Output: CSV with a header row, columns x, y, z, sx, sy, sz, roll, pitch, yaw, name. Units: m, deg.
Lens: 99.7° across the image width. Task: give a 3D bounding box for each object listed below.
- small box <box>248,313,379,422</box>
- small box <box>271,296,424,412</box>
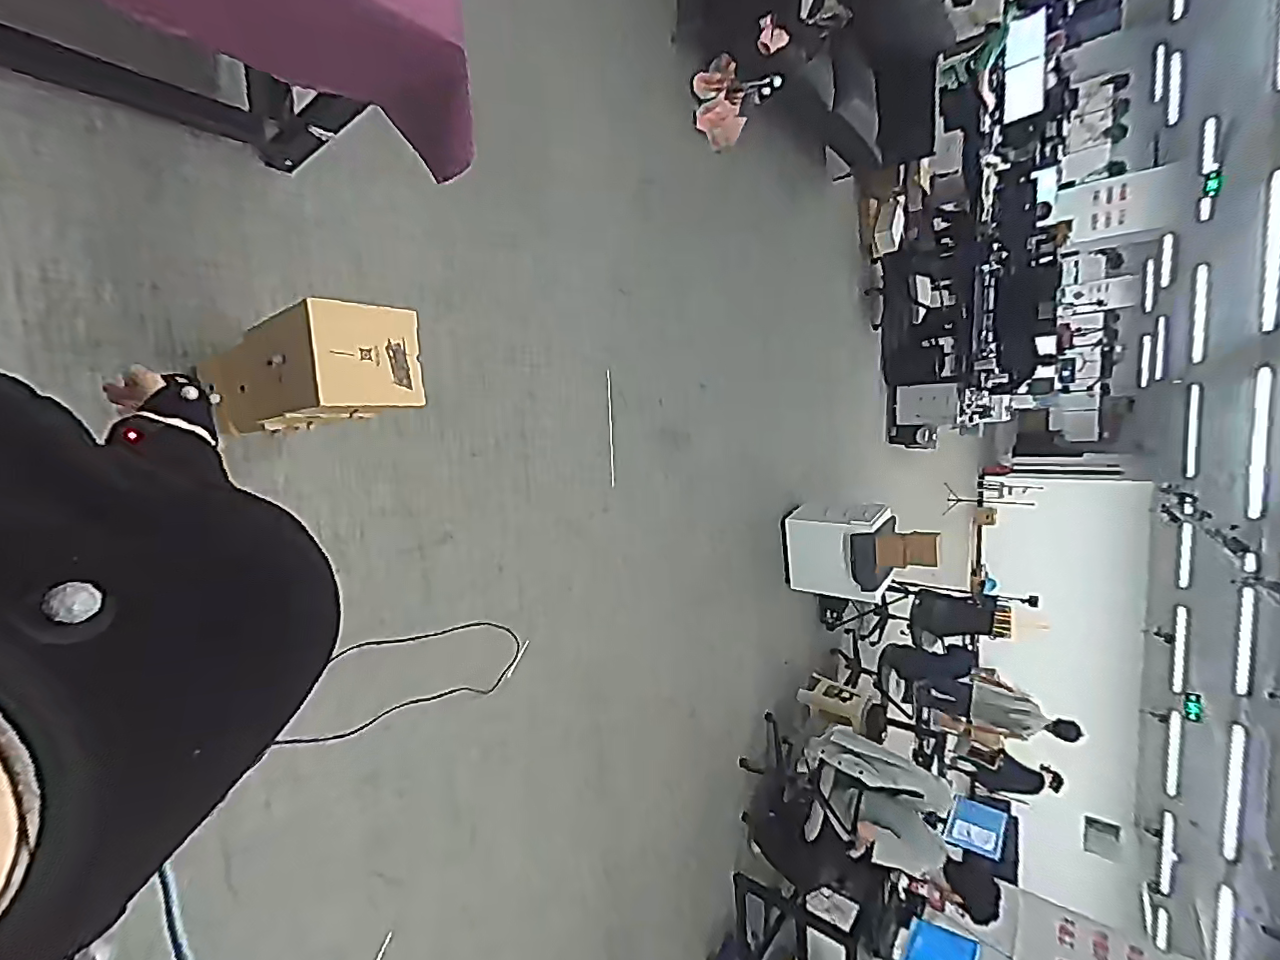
x,y,z,sx,sy,sz,roll,pitch,yaw,name
-0.629,-0.206,1.038,0.168,0.176,0.179,-8,96,-50,small box
-0.502,-0.207,0.933,0.179,0.176,0.168,-11,98,-50,small box
